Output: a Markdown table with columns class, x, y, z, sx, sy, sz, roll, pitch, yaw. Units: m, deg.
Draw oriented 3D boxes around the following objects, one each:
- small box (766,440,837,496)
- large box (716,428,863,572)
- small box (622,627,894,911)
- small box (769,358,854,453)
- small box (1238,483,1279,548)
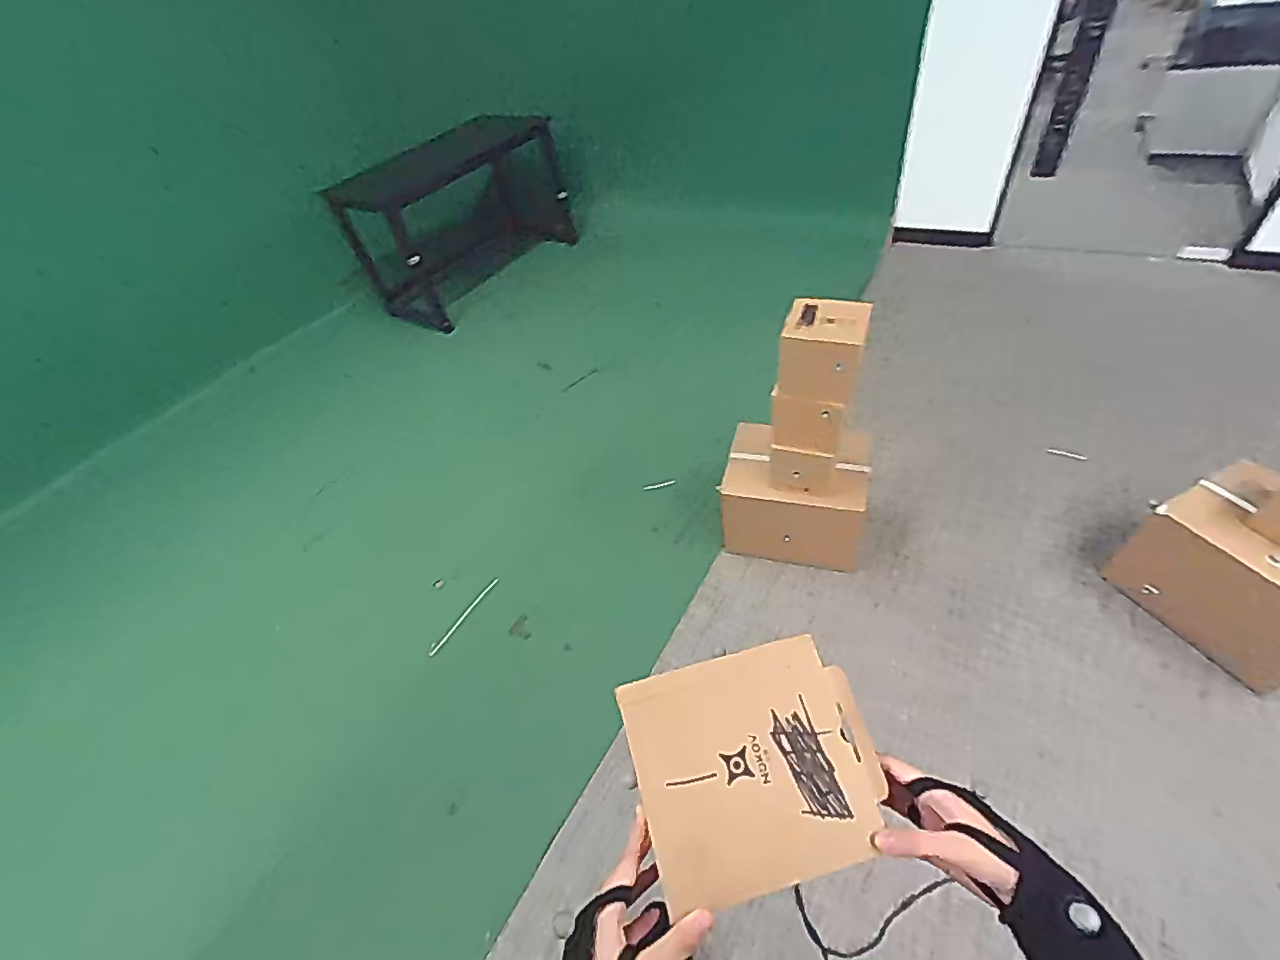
| class | x | y | z | sx | sy | sz | roll | pitch | yaw |
| --- | --- | --- | --- | --- | --- | --- | --- | --- | --- |
| small box | 0.456 | -0.079 | 1.514 | 0.168 | 0.176 | 0.179 | 12 | 52 | 21 |
| large box | 0.479 | 0.061 | 1.719 | 0.408 | 0.320 | 0.320 | 6 | 48 | 19 |
| small box | 0.086 | 0.247 | 0.492 | 0.179 | 0.176 | 0.168 | -13 | 65 | -5 |
| small box | 0.438 | -0.191 | 1.399 | 0.179 | 0.176 | 0.168 | 13 | 52 | 22 |
| small box | 1.482 | 0.067 | 1.162 | 0.168 | 0.176 | 0.179 | -26 | 49 | -14 |
